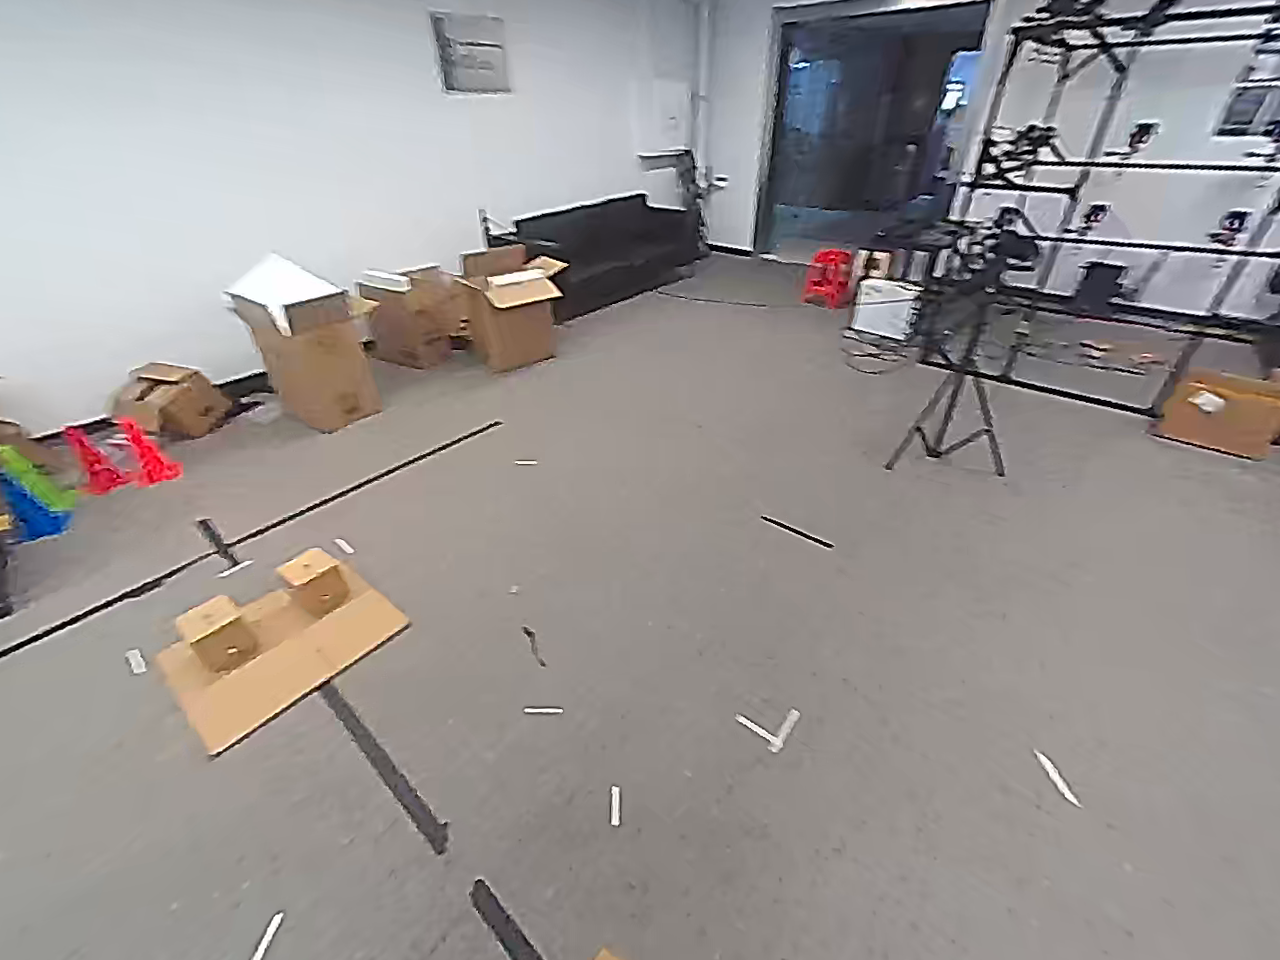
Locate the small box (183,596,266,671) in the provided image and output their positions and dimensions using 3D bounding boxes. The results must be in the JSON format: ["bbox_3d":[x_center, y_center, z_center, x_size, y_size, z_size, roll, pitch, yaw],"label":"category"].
[{"bbox_3d":[-1.530,0.569,1.996,0.179,0.176,0.168,24,42,32],"label":"small box"}]

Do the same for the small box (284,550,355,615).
[{"bbox_3d":[-1.307,0.423,2.215,0.179,0.176,0.168,21,40,30],"label":"small box"}]
